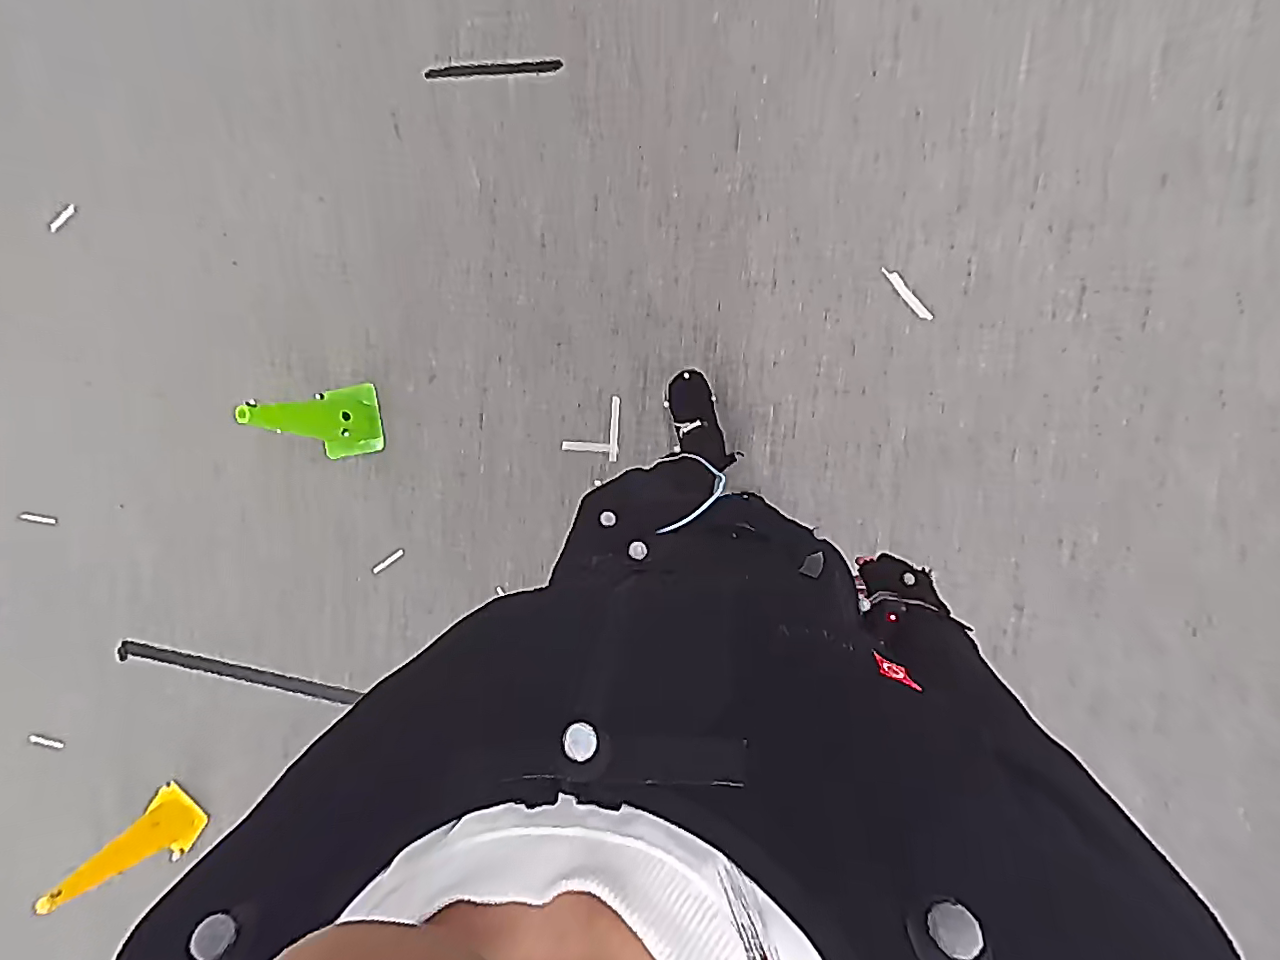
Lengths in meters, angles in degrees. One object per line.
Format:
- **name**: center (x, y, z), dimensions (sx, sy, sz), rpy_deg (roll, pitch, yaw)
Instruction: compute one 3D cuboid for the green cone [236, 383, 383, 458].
- **green cone**: center (-0.890, -0.163, 1.426), dimensions (0.202, 0.368, 0.200), rpy_deg (-10, 92, 11)
